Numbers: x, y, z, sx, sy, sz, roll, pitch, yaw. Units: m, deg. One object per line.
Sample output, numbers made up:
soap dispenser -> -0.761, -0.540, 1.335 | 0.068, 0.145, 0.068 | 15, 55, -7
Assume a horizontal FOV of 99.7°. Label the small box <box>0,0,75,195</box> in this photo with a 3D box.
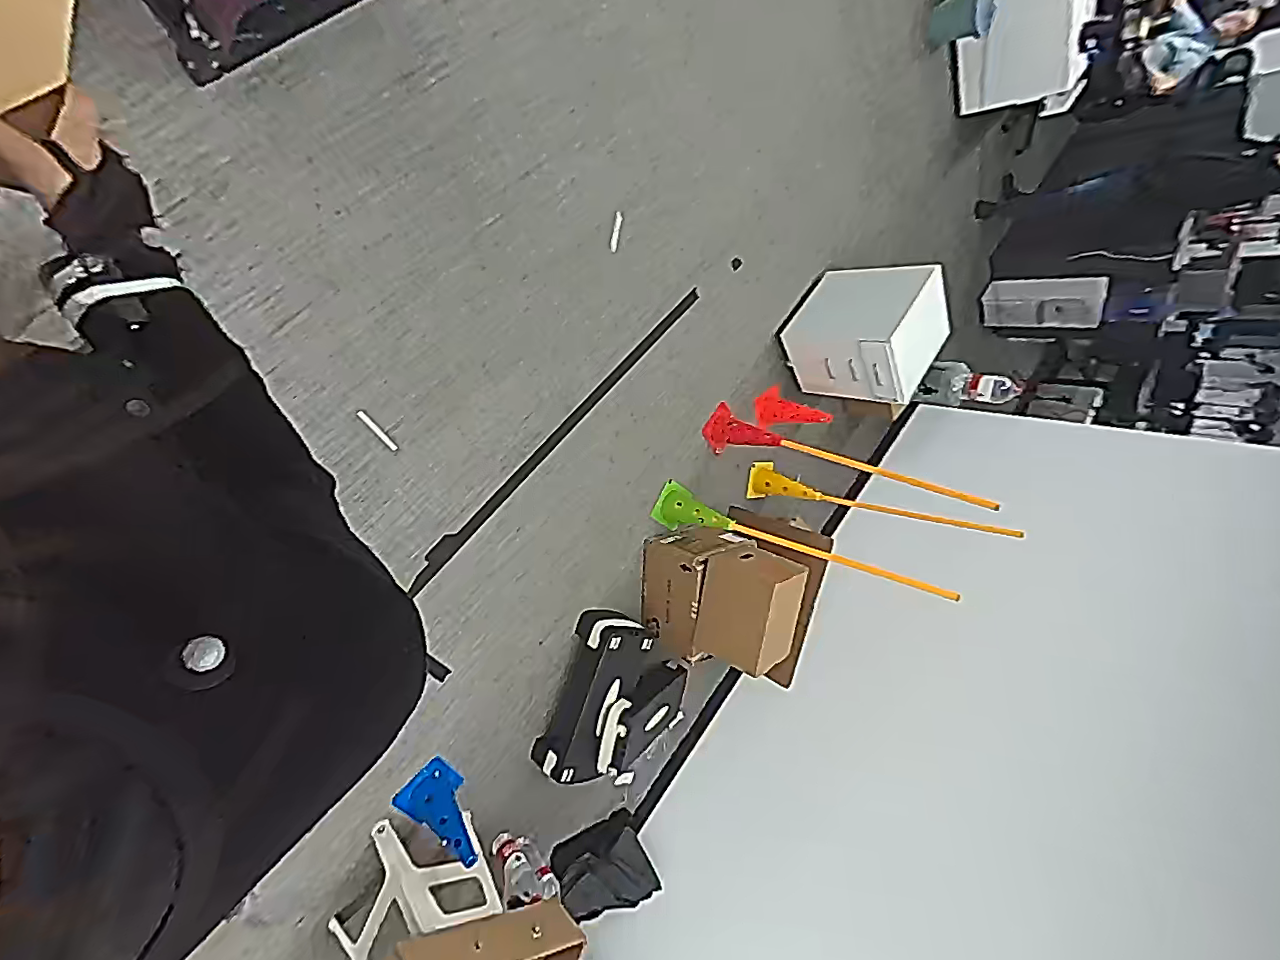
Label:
small box -> -0.577, -0.351, 0.425 | 0.168, 0.176, 0.179 | 4, 107, -52
